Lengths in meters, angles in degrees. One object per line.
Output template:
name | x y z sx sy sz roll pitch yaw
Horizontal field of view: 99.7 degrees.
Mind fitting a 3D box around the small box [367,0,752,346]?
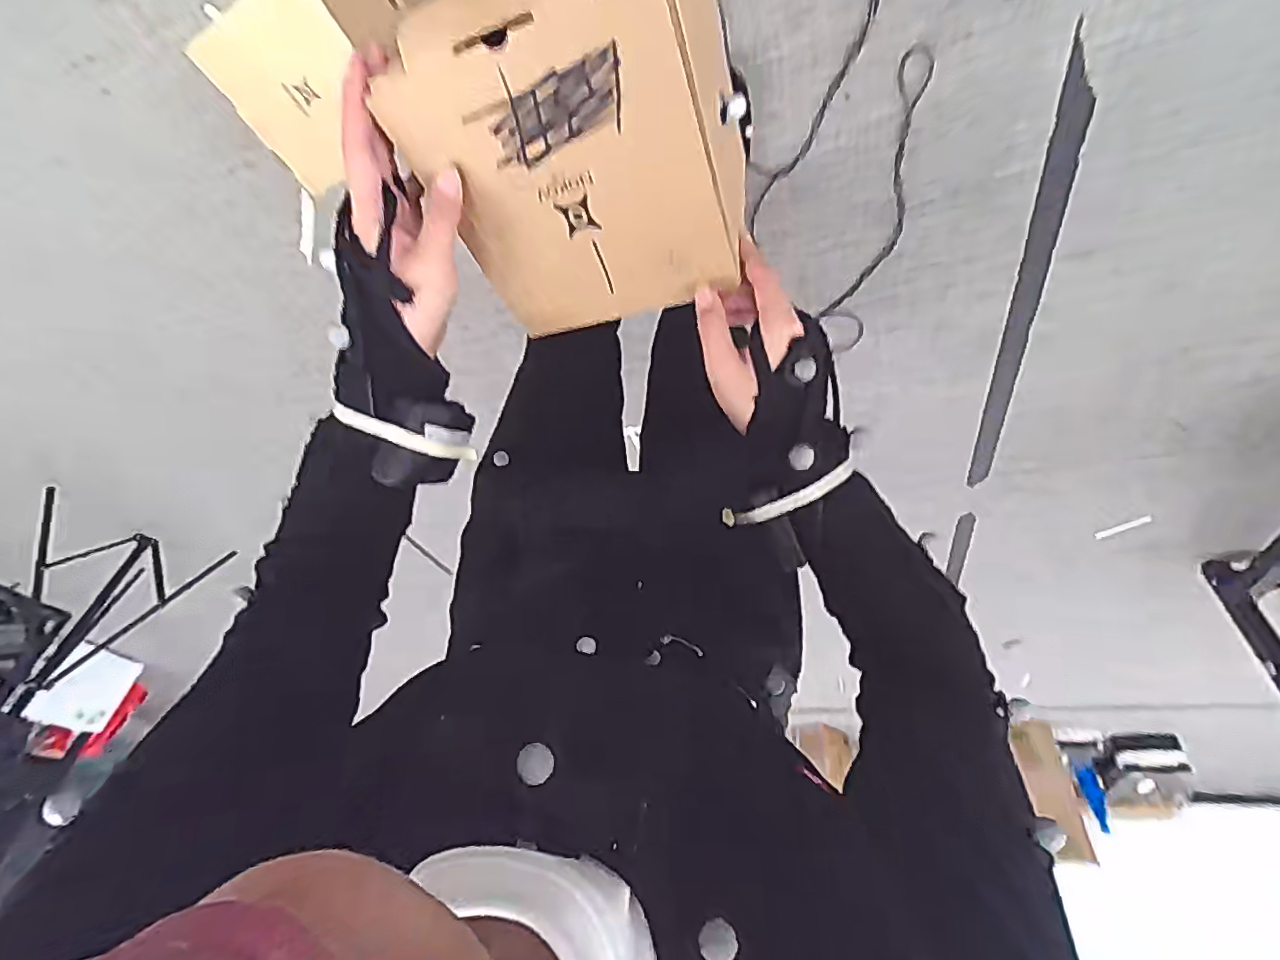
small box | -0.026 -0.221 0.349 0.168 0.176 0.179 -6 146 20

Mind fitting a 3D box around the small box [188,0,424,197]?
small box | -0.353 -0.478 0.631 0.179 0.176 0.168 -13 137 23
